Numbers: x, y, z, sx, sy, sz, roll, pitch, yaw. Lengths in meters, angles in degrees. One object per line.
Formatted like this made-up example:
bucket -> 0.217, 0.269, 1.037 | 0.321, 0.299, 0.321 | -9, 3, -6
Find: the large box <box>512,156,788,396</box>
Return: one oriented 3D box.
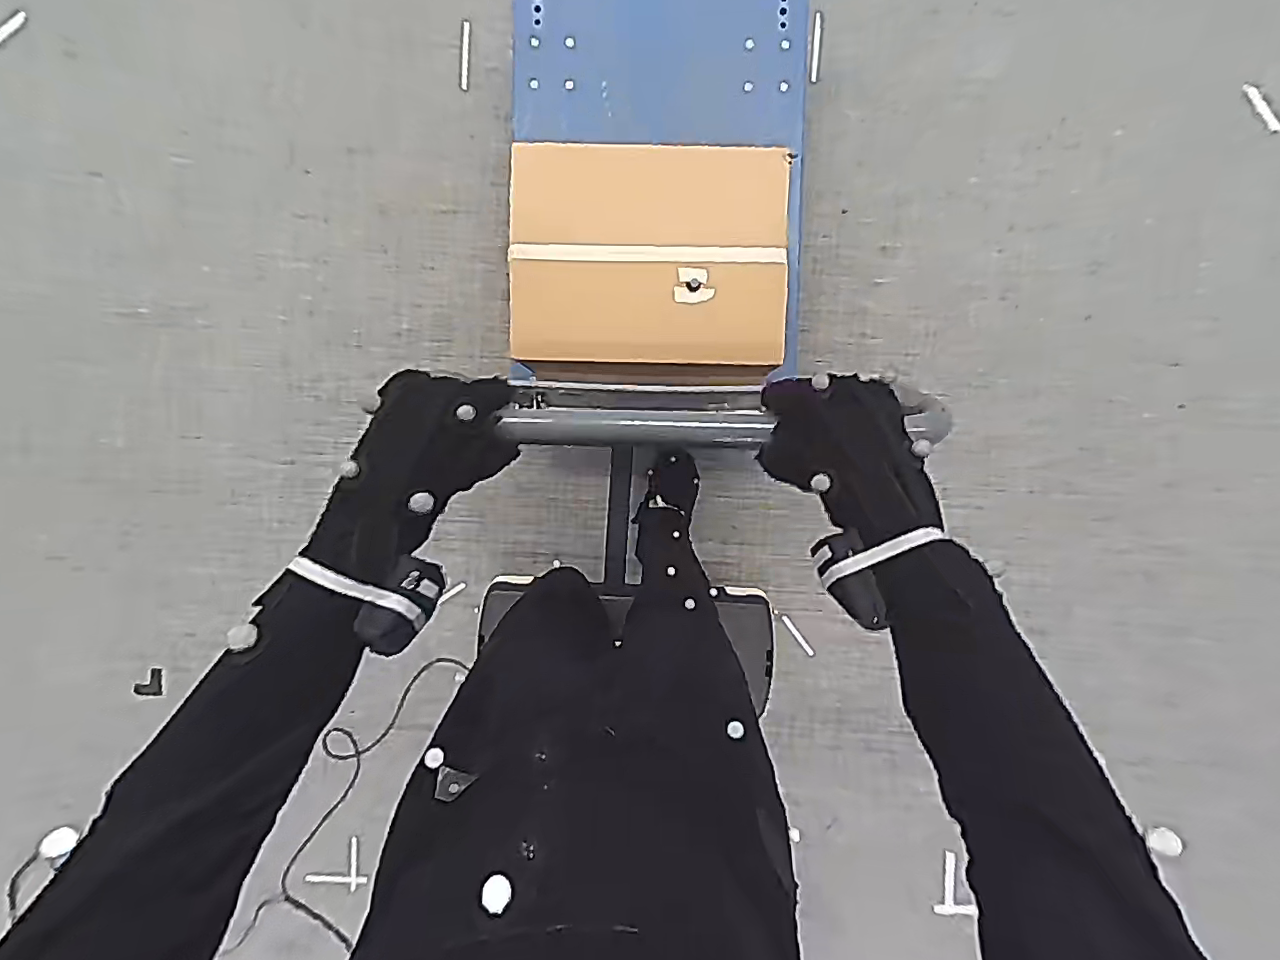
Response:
large box -> 0.011, -0.317, 0.933 | 0.408, 0.320, 0.320 | 1, 93, 0
